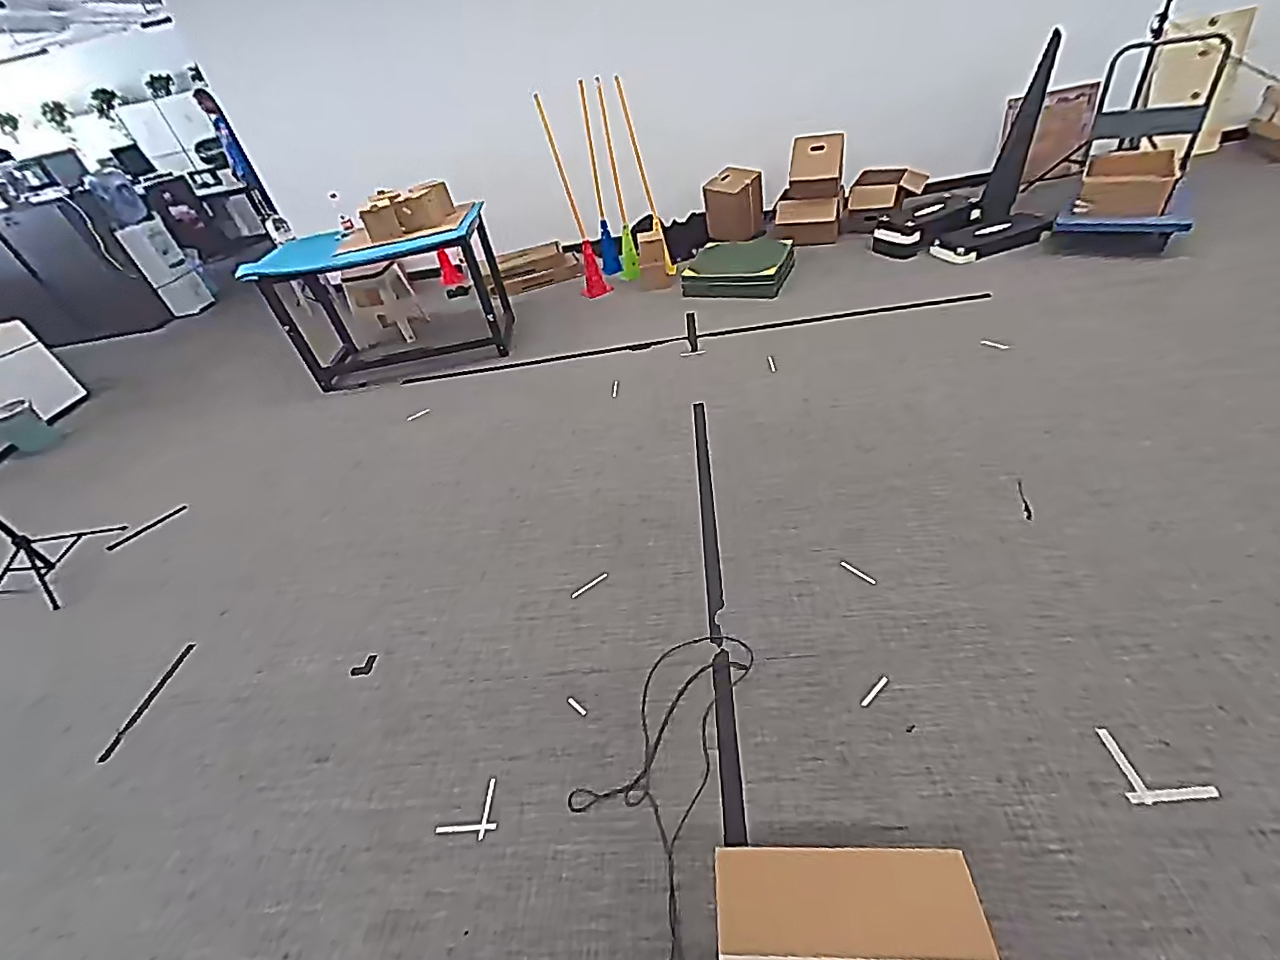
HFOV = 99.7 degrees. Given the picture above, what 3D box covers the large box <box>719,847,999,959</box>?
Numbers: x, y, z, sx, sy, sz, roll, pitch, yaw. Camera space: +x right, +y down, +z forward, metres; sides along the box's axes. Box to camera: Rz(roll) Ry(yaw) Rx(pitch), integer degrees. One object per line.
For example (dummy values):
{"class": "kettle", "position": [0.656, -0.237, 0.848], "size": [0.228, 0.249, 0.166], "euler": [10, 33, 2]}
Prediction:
{"class": "large box", "position": [0.351, 0.839, 0.895], "size": [0.408, 0.320, 0.320], "euler": [-6, 40, 9]}
